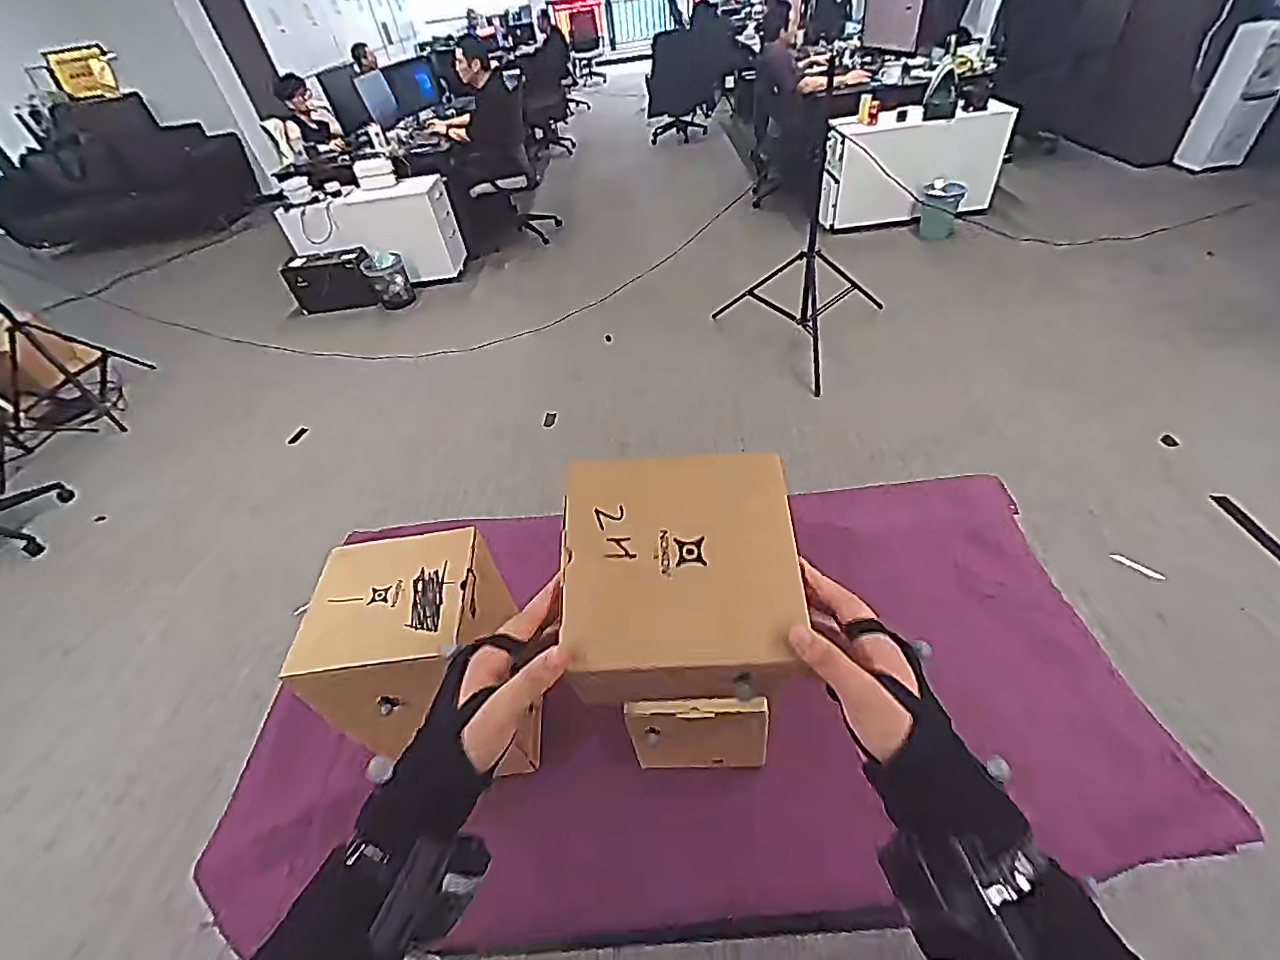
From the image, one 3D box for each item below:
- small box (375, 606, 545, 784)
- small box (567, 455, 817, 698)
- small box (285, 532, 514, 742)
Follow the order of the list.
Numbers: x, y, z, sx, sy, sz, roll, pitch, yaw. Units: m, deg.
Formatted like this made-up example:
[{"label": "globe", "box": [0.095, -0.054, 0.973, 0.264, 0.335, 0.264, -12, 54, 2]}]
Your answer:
[{"label": "small box", "box": [-0.240, 0.301, 0.749, 0.179, 0.176, 0.168, -8, 43, 1]}, {"label": "small box", "box": [0.037, 0.093, 0.480, 0.179, 0.176, 0.168, -3, 59, 2]}, {"label": "small box", "box": [-0.256, 0.185, 0.633, 0.179, 0.176, 0.168, -8, 43, 1]}]
